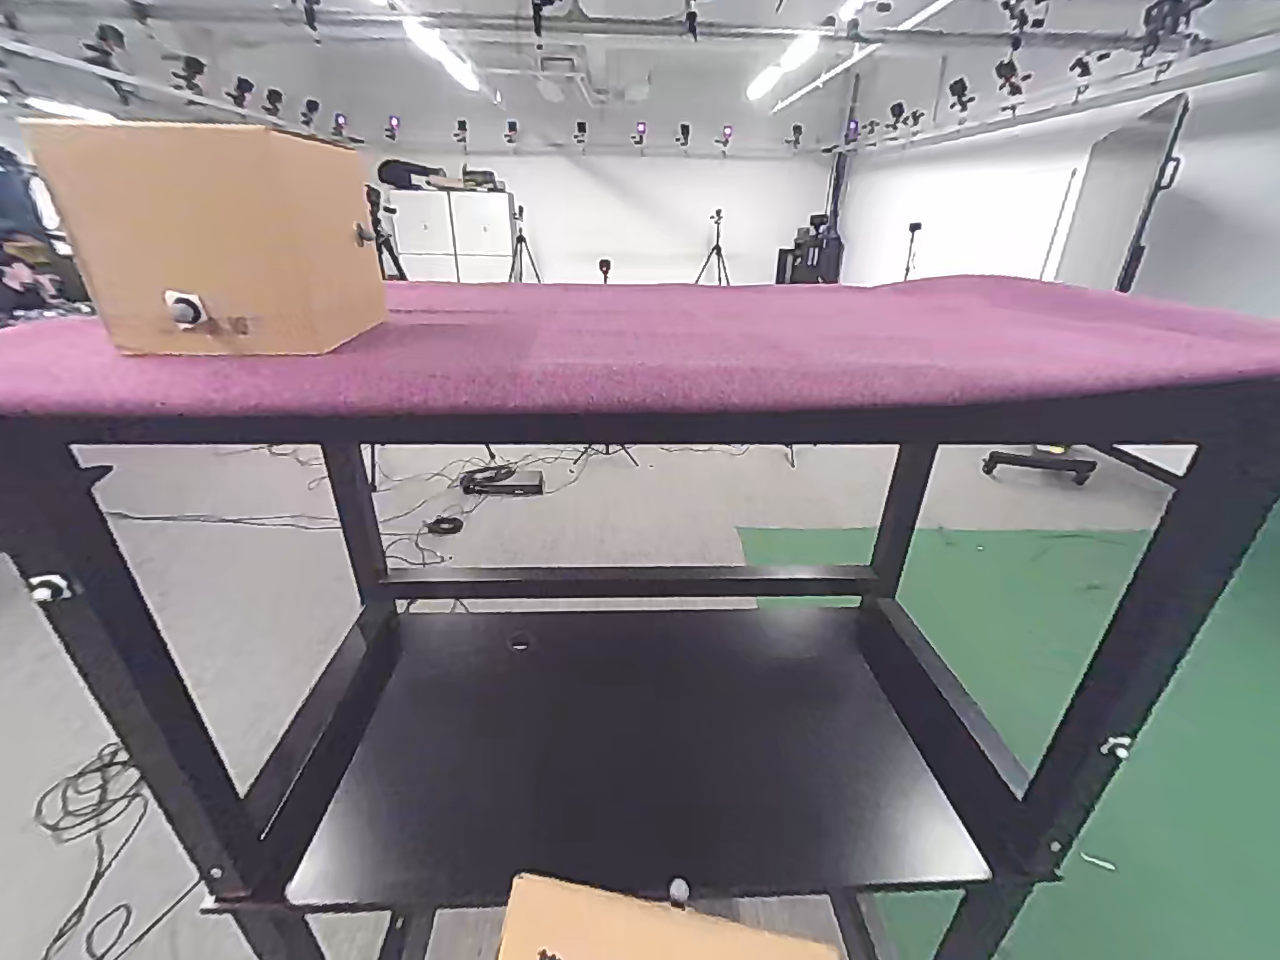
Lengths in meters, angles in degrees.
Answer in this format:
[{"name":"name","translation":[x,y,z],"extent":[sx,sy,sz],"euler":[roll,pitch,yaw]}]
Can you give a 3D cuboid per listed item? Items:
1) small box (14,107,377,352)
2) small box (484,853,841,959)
[{"name":"small box","translation":[-0.356,-0.218,0.484],"extent":[0.168,0.176,0.179],"euler":[-3,27,-5]},{"name":"small box","translation":[0.000,0.326,0.298],"extent":[0.179,0.176,0.168],"euler":[10,53,4]}]
